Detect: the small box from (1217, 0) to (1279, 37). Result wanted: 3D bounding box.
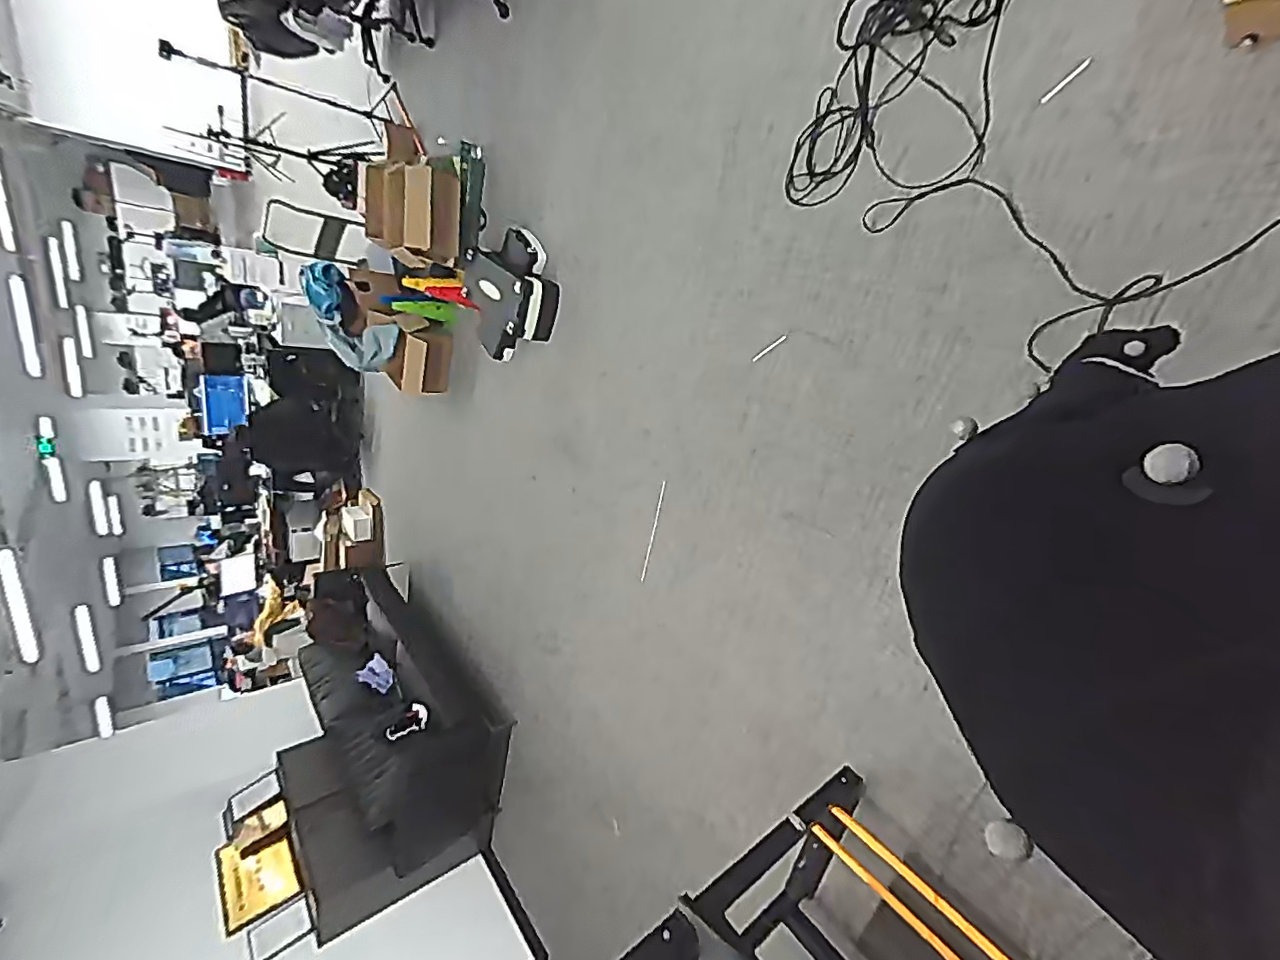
[{"bbox_3d":[1.062,-0.835,0.845,0.168,0.176,0.179,29,116,43],"label":"small box"}]
